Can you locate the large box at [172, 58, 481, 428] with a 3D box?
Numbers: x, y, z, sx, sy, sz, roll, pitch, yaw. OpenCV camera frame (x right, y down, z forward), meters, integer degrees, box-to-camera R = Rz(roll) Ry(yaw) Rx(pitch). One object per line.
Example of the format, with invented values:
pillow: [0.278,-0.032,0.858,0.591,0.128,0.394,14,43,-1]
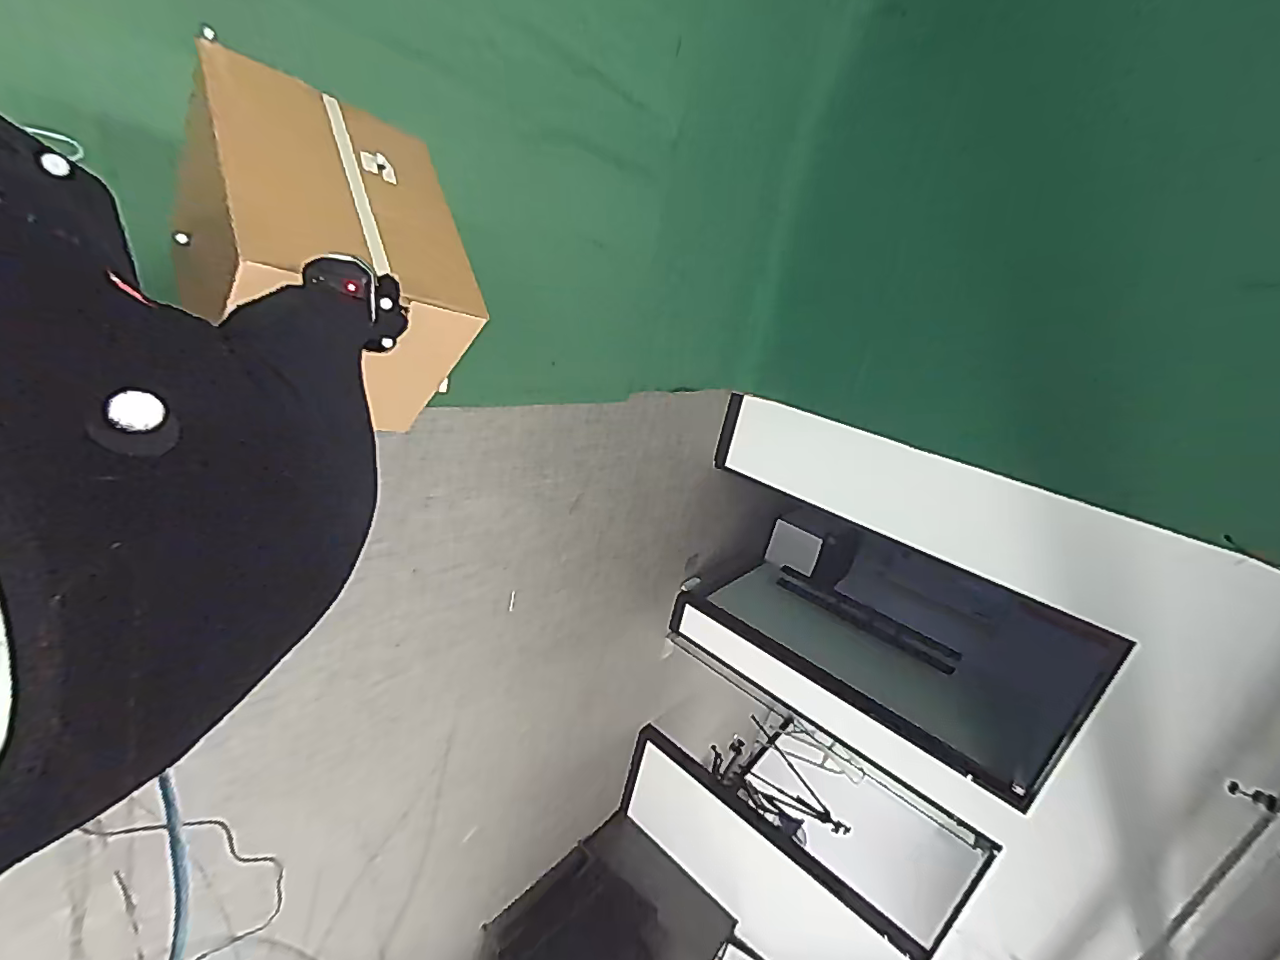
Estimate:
large box: [-0.515,-0.332,0.868,0.320,0.408,0.320,-1,149,-49]
